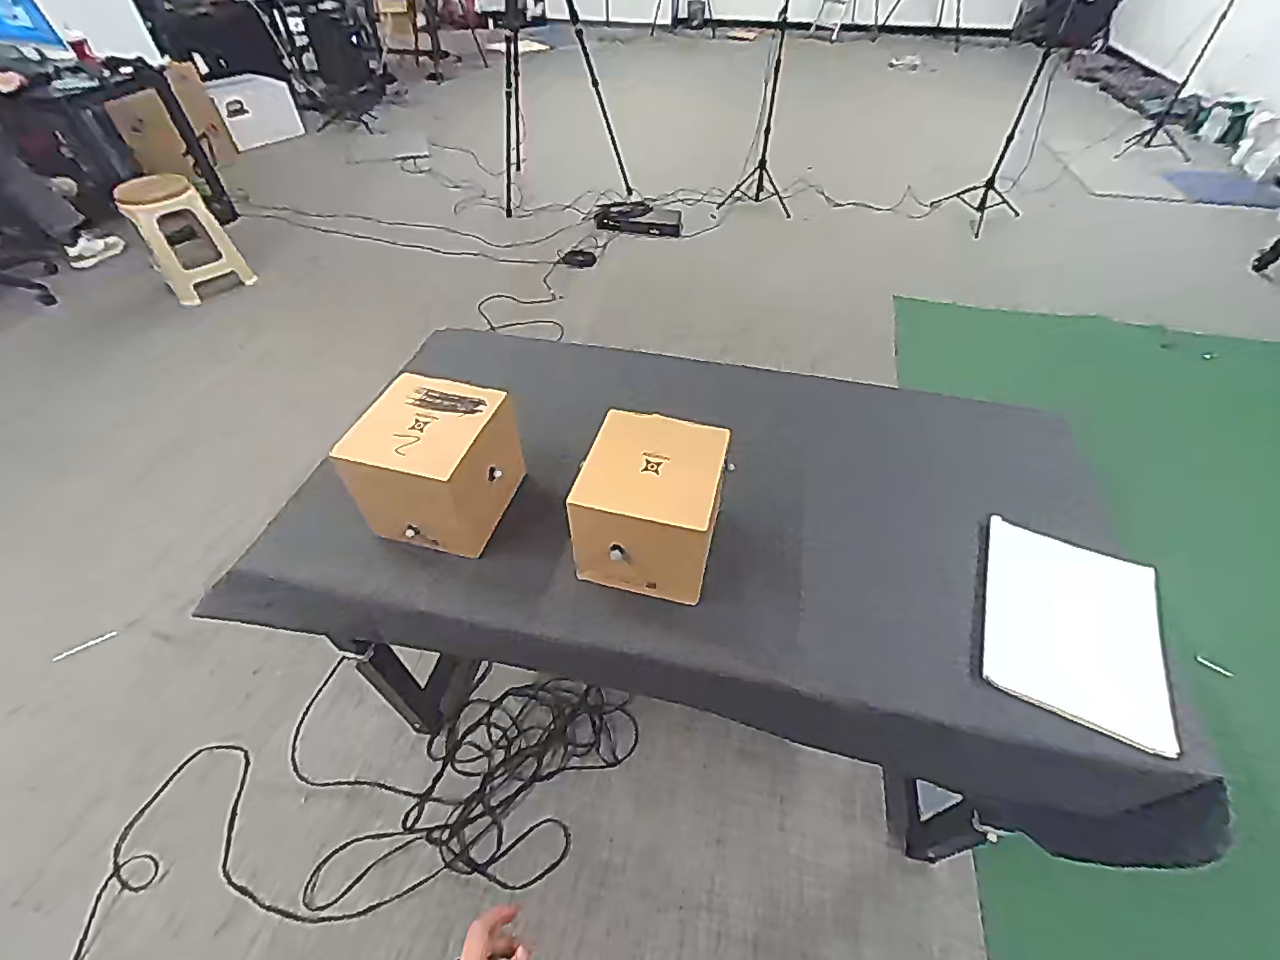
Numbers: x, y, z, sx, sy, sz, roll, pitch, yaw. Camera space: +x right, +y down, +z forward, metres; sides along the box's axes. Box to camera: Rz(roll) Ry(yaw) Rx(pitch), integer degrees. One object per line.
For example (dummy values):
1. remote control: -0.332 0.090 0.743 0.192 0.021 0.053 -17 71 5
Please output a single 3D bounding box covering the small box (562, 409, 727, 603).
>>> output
1. small box: 0.012 0.036 0.708 0.168 0.176 0.179 11 48 10
